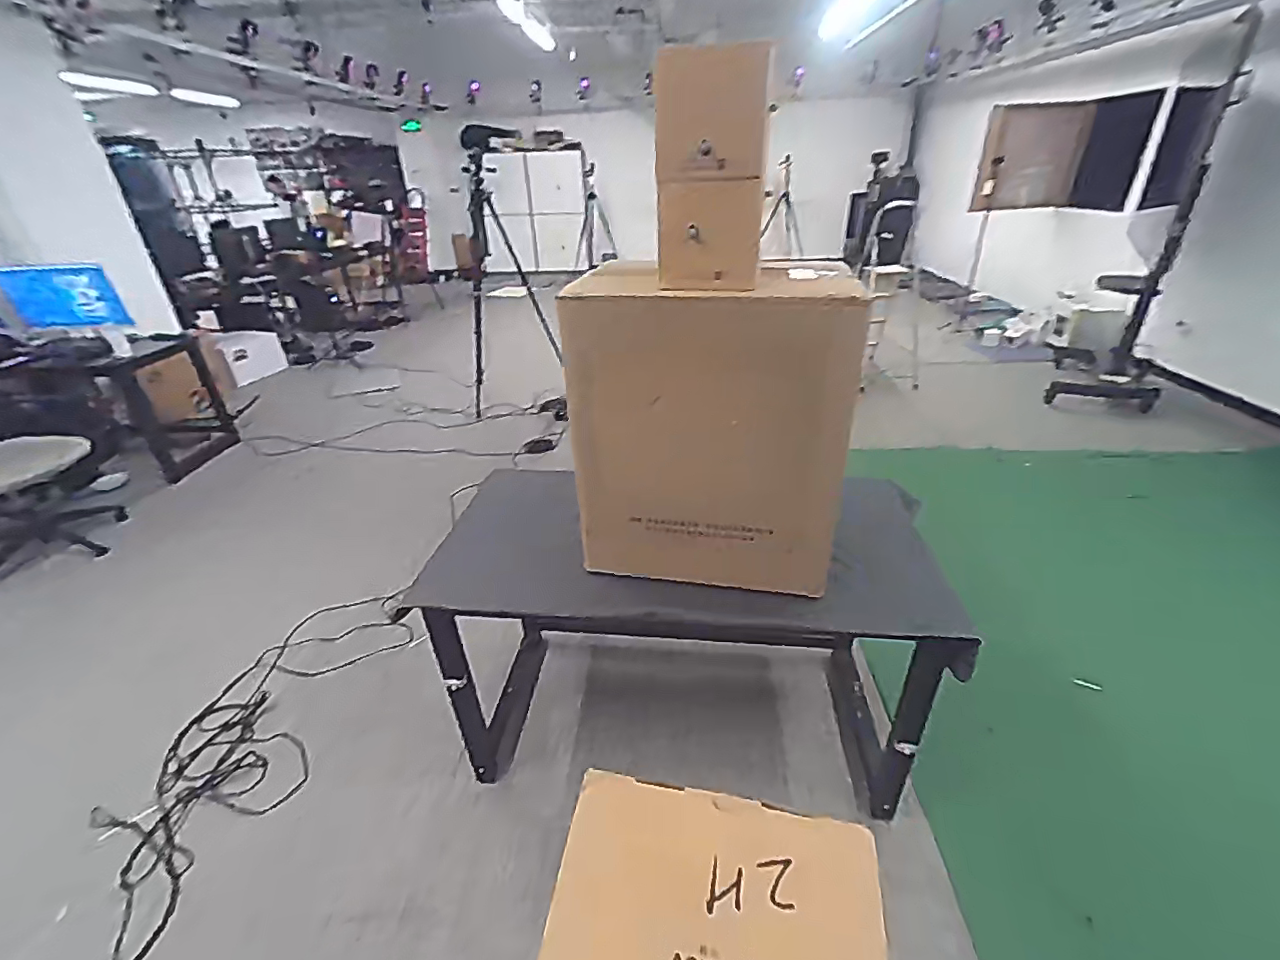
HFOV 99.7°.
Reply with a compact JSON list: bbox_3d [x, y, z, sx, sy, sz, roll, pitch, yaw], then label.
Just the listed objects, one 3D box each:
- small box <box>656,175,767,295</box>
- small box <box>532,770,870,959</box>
[{"bbox_3d":[0.129,-0.426,0.941,0.168,0.176,0.179,5,32,12],"label":"small box"},{"bbox_3d":[0.030,0.303,0.309,0.168,0.176,0.179,6,42,9],"label":"small box"}]
